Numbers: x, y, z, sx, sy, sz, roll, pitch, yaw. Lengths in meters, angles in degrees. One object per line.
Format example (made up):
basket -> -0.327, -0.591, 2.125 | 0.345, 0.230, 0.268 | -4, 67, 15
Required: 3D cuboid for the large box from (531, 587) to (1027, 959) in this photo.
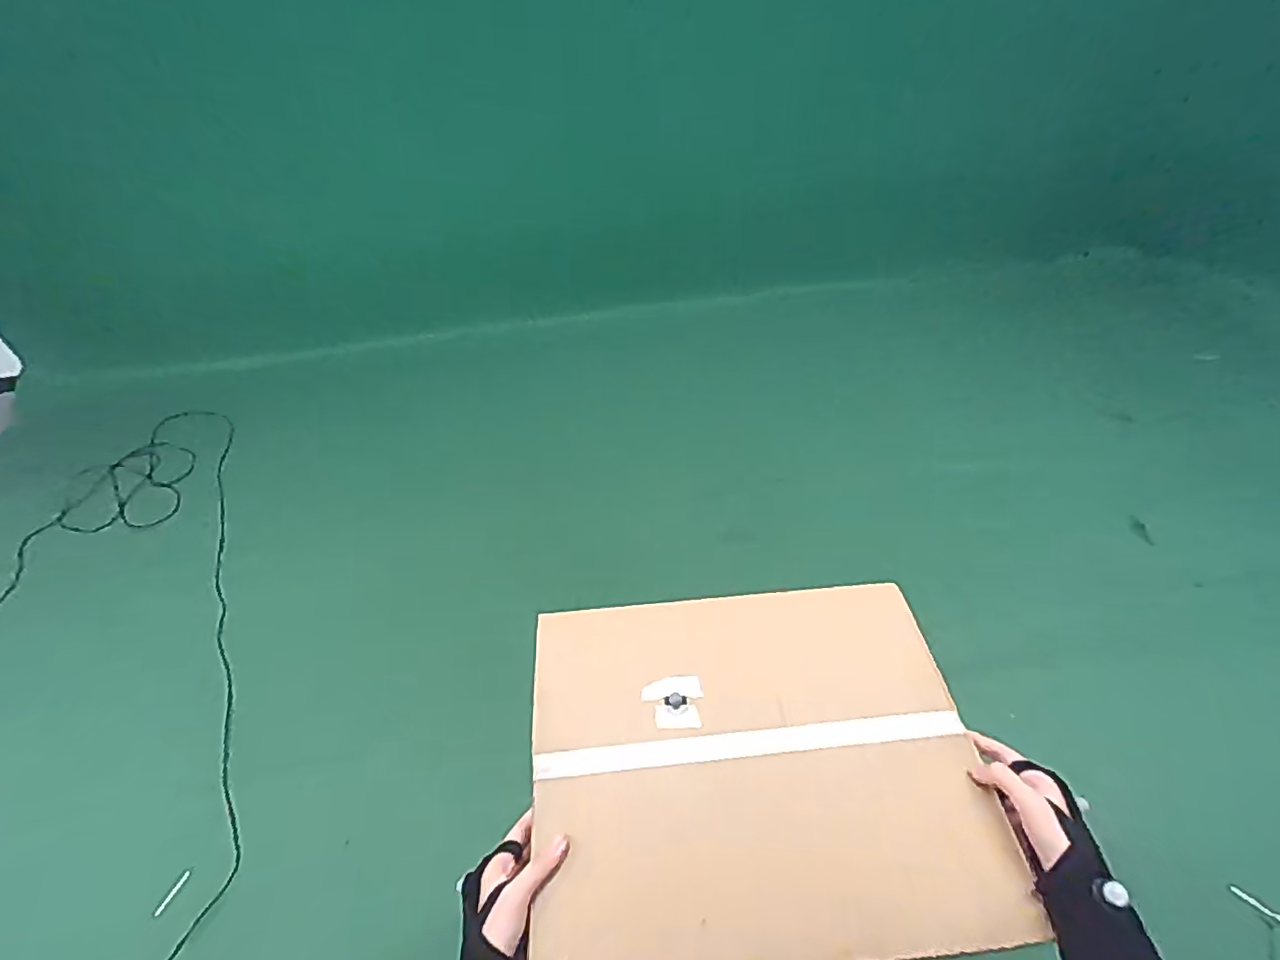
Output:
large box -> 0.105, 0.354, 0.628 | 0.408, 0.320, 0.320 | -5, 48, -2
